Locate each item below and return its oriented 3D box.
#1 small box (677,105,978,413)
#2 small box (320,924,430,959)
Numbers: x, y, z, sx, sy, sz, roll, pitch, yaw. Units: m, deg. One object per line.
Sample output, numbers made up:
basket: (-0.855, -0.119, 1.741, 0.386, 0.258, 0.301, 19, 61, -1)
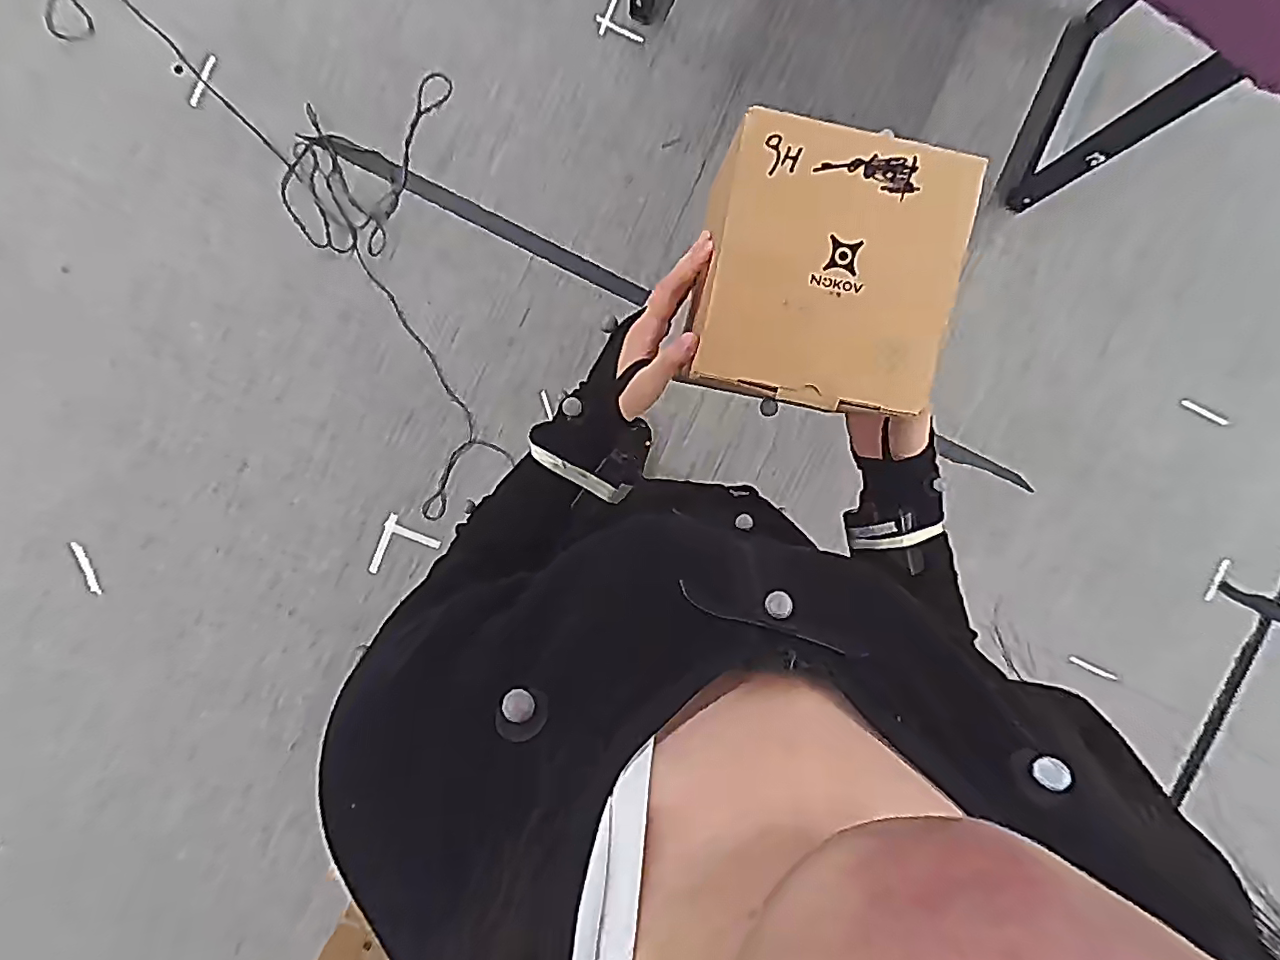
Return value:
small box: (0.129, -0.160, 0.449, 0.168, 0.176, 0.179, 10, 99, -4)
small box: (-0.443, 0.841, 0.827, 0.168, 0.176, 0.179, 16, 92, -2)
